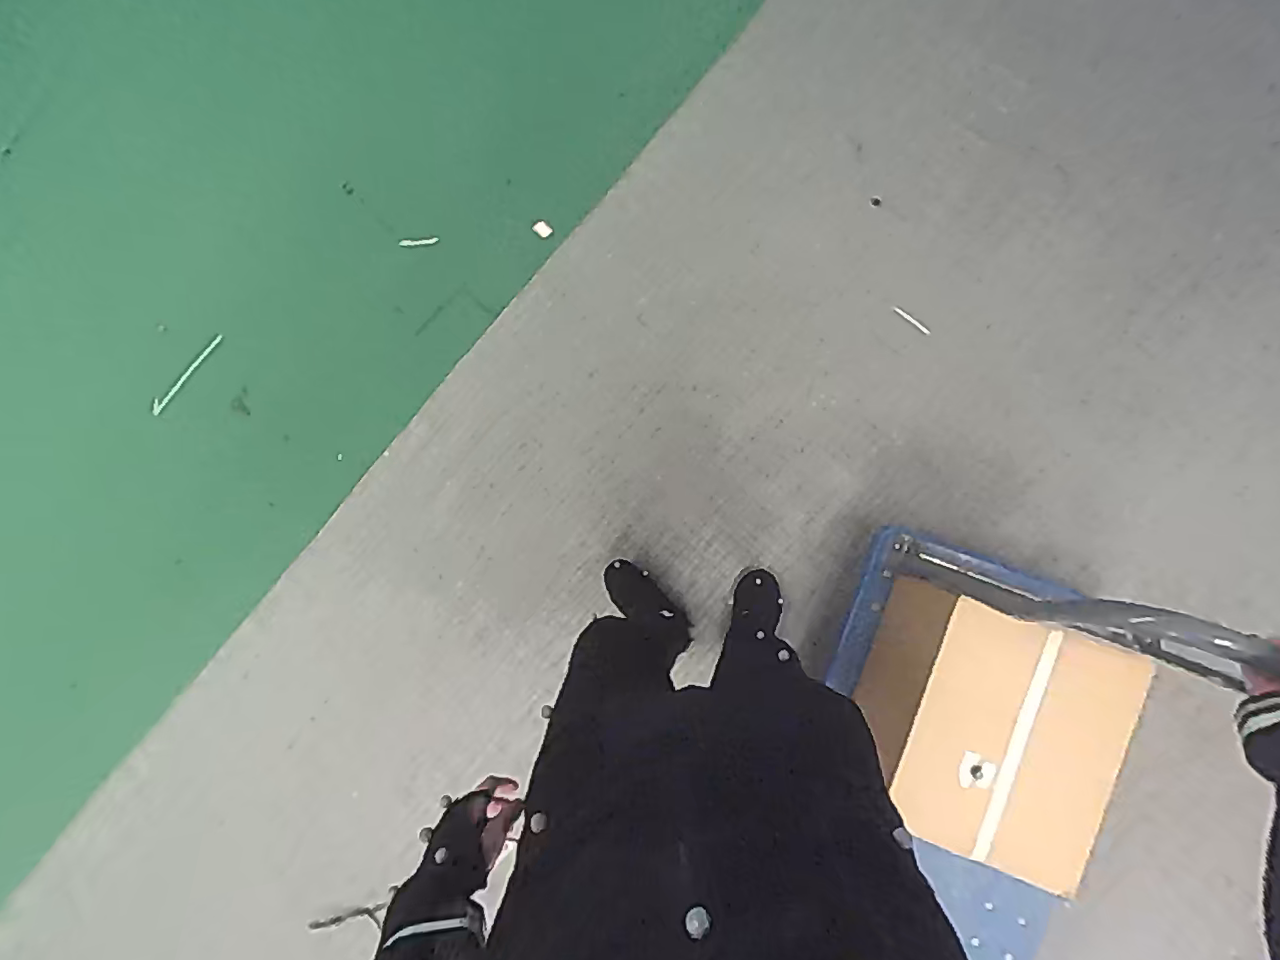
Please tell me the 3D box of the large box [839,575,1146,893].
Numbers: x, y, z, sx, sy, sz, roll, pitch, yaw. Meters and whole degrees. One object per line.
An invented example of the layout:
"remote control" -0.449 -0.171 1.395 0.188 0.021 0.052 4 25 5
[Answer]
"large box" 0.627 0.435 1.033 0.320 0.320 0.408 20 90 8
